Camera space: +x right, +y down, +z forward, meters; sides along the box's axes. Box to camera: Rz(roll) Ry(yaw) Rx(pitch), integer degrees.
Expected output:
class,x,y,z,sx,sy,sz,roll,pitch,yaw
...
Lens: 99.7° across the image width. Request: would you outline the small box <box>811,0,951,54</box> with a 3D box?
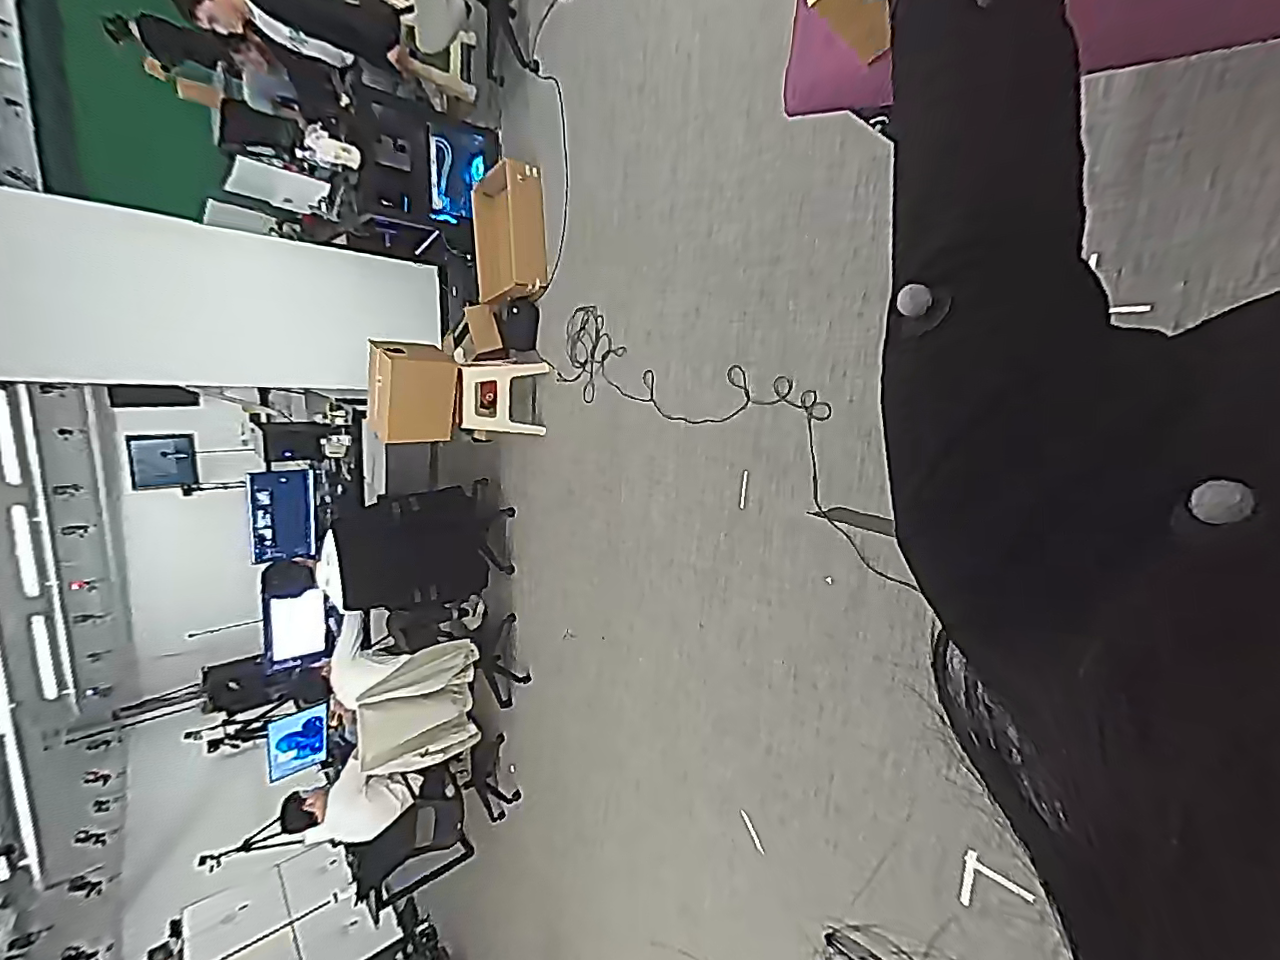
class,x,y,z,sx,sy,sz,roll,pitch,yaw
small box,0.320,-0.694,0.671,0.179,0.176,0.168,-11,87,48
